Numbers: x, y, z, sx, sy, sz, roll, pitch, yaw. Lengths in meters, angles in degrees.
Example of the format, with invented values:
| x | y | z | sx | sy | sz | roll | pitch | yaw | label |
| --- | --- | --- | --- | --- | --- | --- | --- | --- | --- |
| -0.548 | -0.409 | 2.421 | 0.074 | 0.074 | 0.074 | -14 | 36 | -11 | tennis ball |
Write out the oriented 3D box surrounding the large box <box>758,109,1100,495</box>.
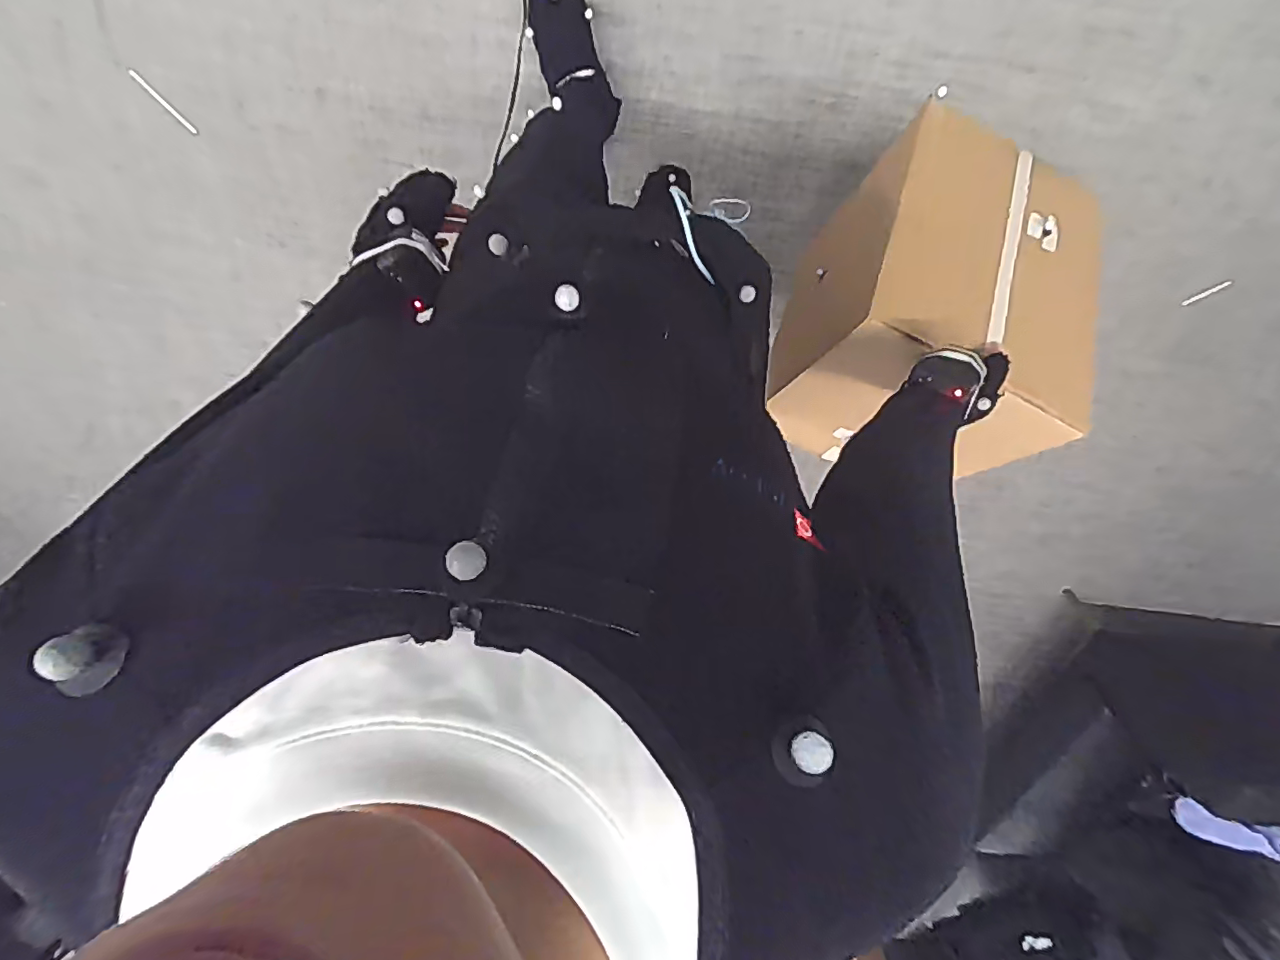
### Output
| x | y | z | sx | sy | sz | roll | pitch | yaw | label |
| --- | --- | --- | --- | --- | --- | --- | --- | --- | --- |
| 0.428 | -0.243 | 0.838 | 0.320 | 0.408 | 0.320 | 26 | 159 | -8 | large box |
